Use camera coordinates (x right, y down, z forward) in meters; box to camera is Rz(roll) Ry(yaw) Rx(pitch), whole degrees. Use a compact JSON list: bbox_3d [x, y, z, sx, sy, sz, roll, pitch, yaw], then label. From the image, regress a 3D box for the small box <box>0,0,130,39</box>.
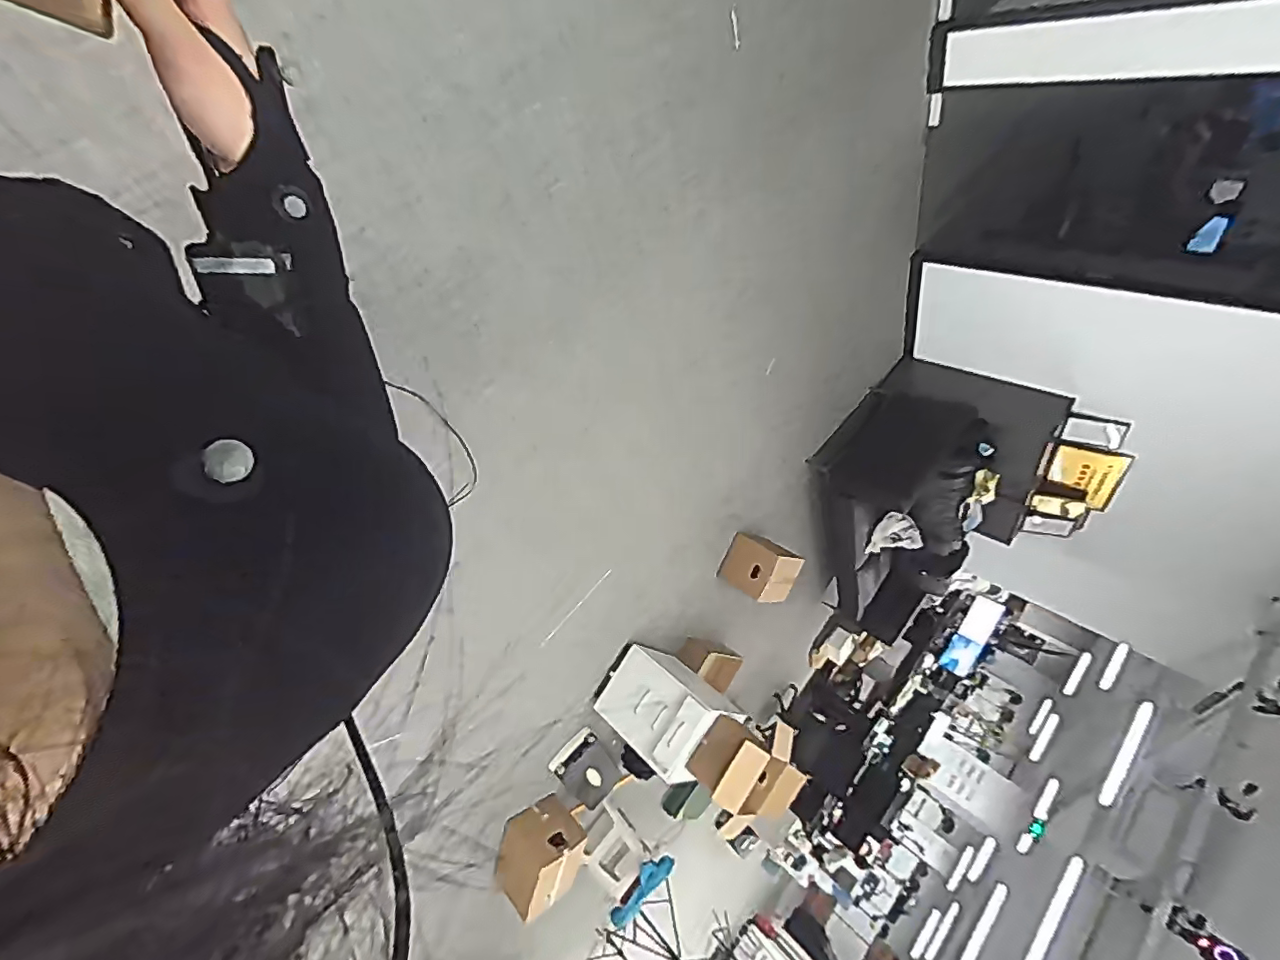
[{"bbox_3d":[-0.291,-0.296,0.184,0.168,0.176,0.179,-1,118,-41],"label":"small box"}]
